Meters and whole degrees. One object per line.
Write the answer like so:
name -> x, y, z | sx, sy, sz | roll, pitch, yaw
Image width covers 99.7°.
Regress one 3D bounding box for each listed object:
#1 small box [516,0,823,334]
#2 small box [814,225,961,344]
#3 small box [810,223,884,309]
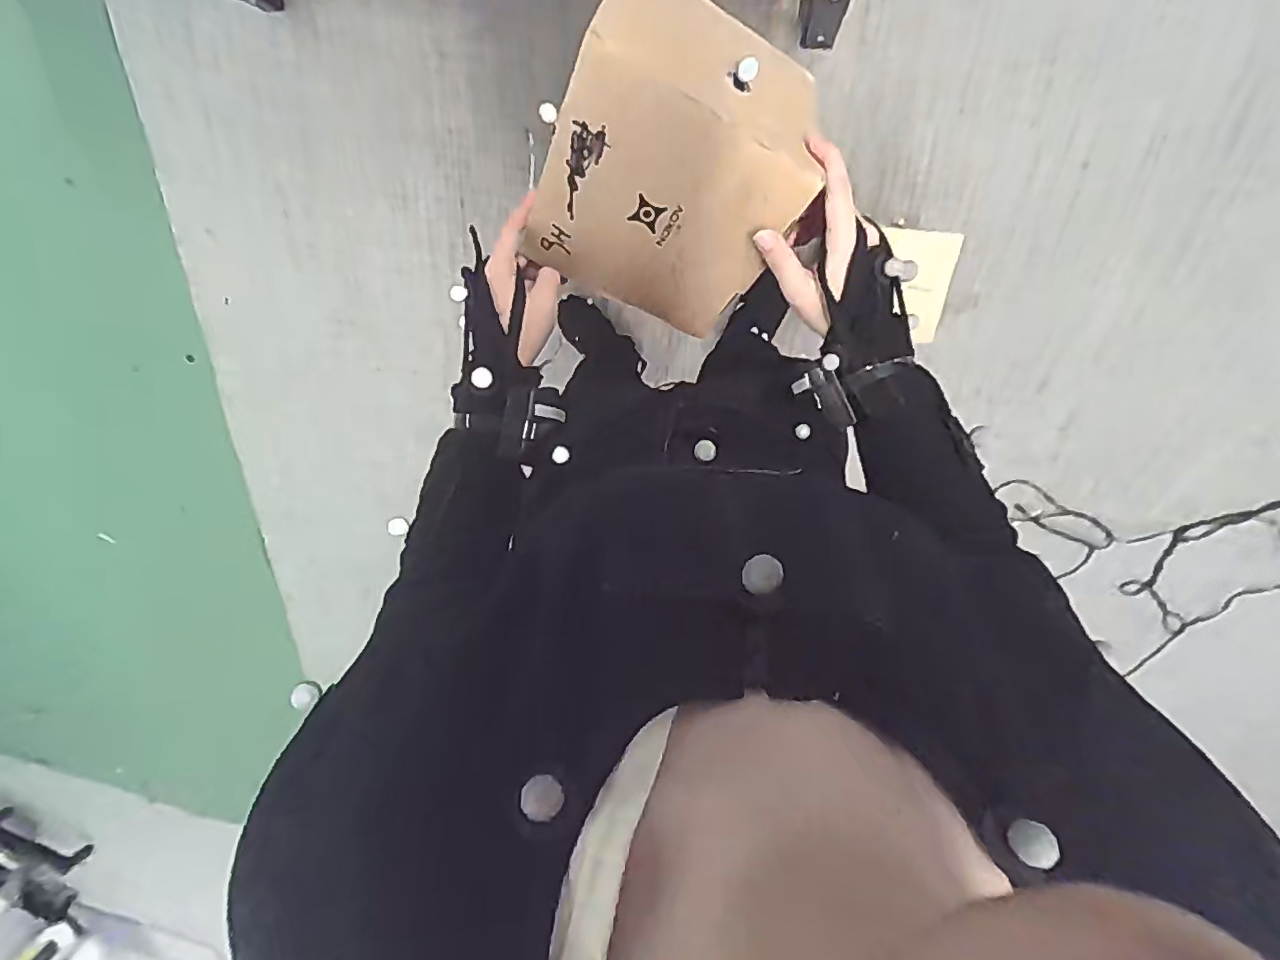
small box -> 0.021, -0.259, 0.437 | 0.179, 0.176, 0.168 | 20, 145, -17
small box -> 0.404, -0.338, 0.922 | 0.179, 0.176, 0.168 | 8, 116, 8
small box -> 0.447, -0.407, 1.064 | 0.179, 0.176, 0.168 | 10, 116, 6
